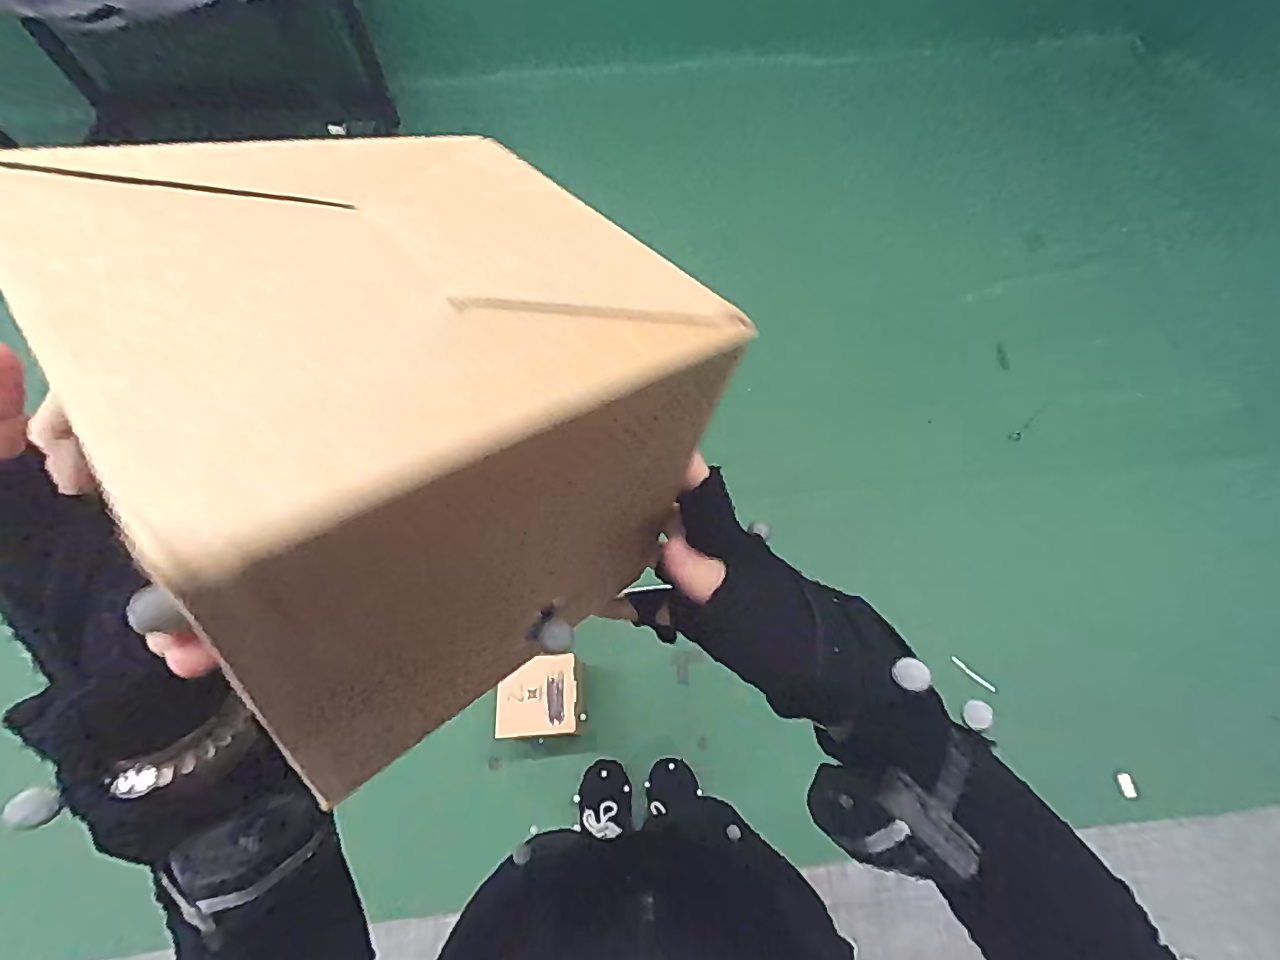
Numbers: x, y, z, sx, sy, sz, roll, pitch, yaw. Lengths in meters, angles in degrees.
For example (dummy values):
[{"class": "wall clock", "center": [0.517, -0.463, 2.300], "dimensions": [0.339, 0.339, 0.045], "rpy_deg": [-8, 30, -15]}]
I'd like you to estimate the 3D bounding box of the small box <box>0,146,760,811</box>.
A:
[{"class": "small box", "center": [-0.085, -0.013, 0.223], "dimensions": [0.168, 0.176, 0.179], "rpy_deg": [44, 50, 18]}]
